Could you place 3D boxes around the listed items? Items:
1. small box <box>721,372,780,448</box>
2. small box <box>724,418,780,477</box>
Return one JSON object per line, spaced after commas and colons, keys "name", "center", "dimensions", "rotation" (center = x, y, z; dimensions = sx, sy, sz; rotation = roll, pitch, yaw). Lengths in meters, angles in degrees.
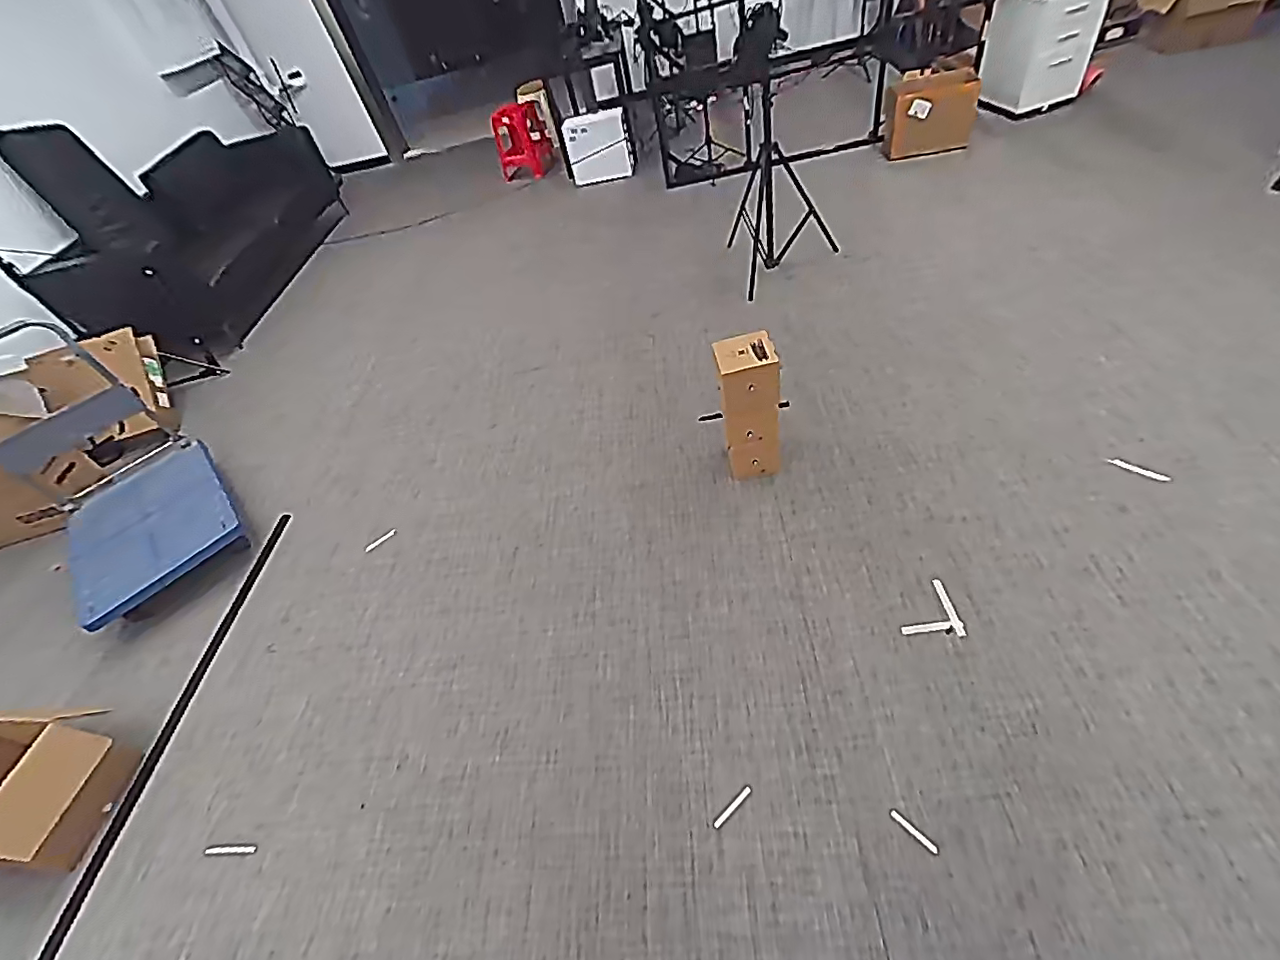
{"name": "small box", "center": [0.371, -0.233, 1.827], "dimensions": [0.168, 0.176, 0.179], "rotation": [-10, 48, 7]}
{"name": "small box", "center": [0.405, -0.126, 1.945], "dimensions": [0.168, 0.176, 0.179], "rotation": [-11, 47, 6]}
